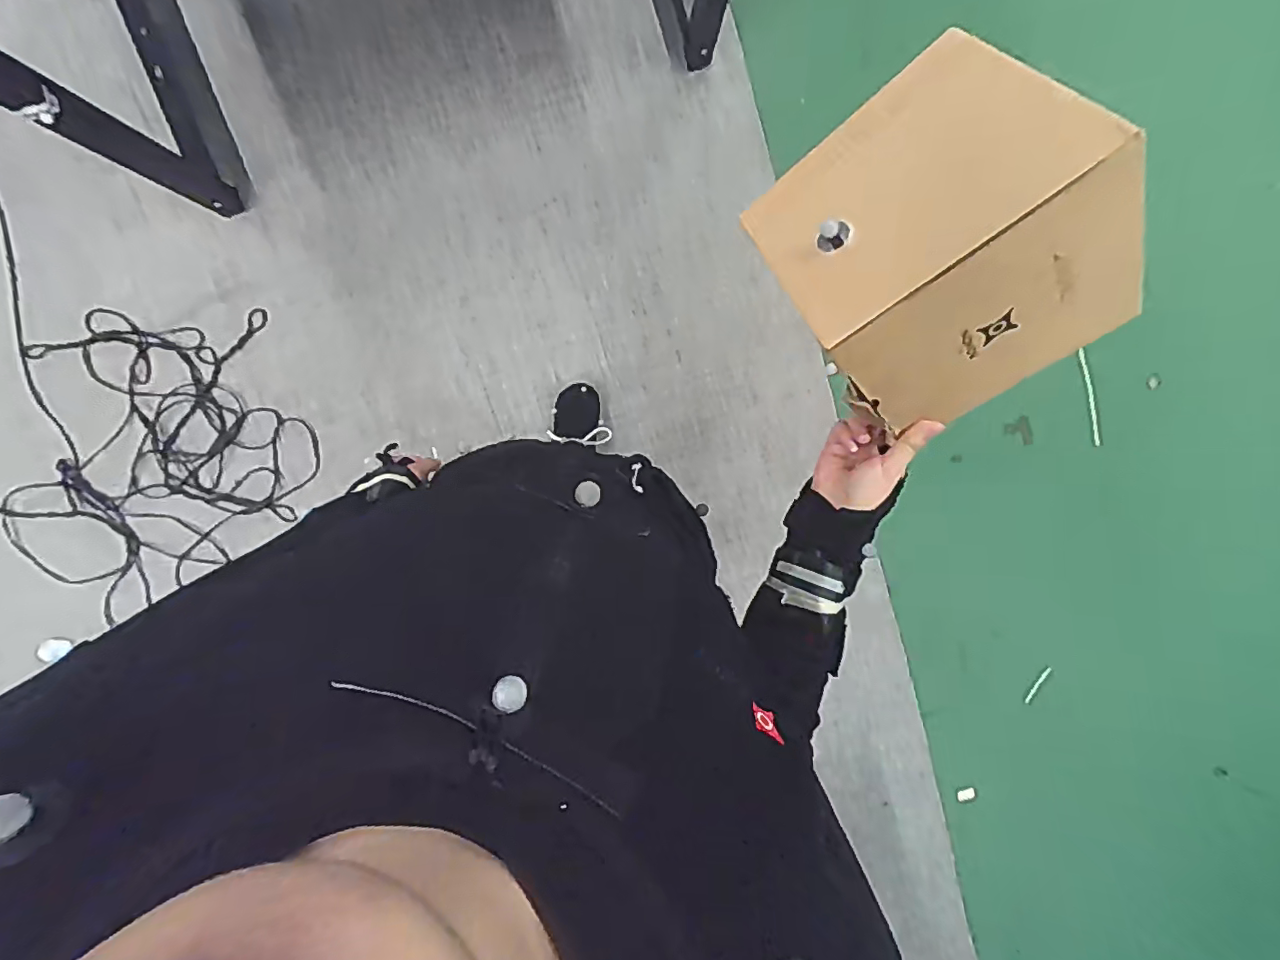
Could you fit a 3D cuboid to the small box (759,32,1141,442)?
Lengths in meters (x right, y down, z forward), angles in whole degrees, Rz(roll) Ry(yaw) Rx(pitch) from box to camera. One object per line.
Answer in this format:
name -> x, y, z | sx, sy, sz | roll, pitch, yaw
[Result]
small box -> 0.208, -0.165, 0.398 | 0.179, 0.176, 0.168 | -36, 142, 25
